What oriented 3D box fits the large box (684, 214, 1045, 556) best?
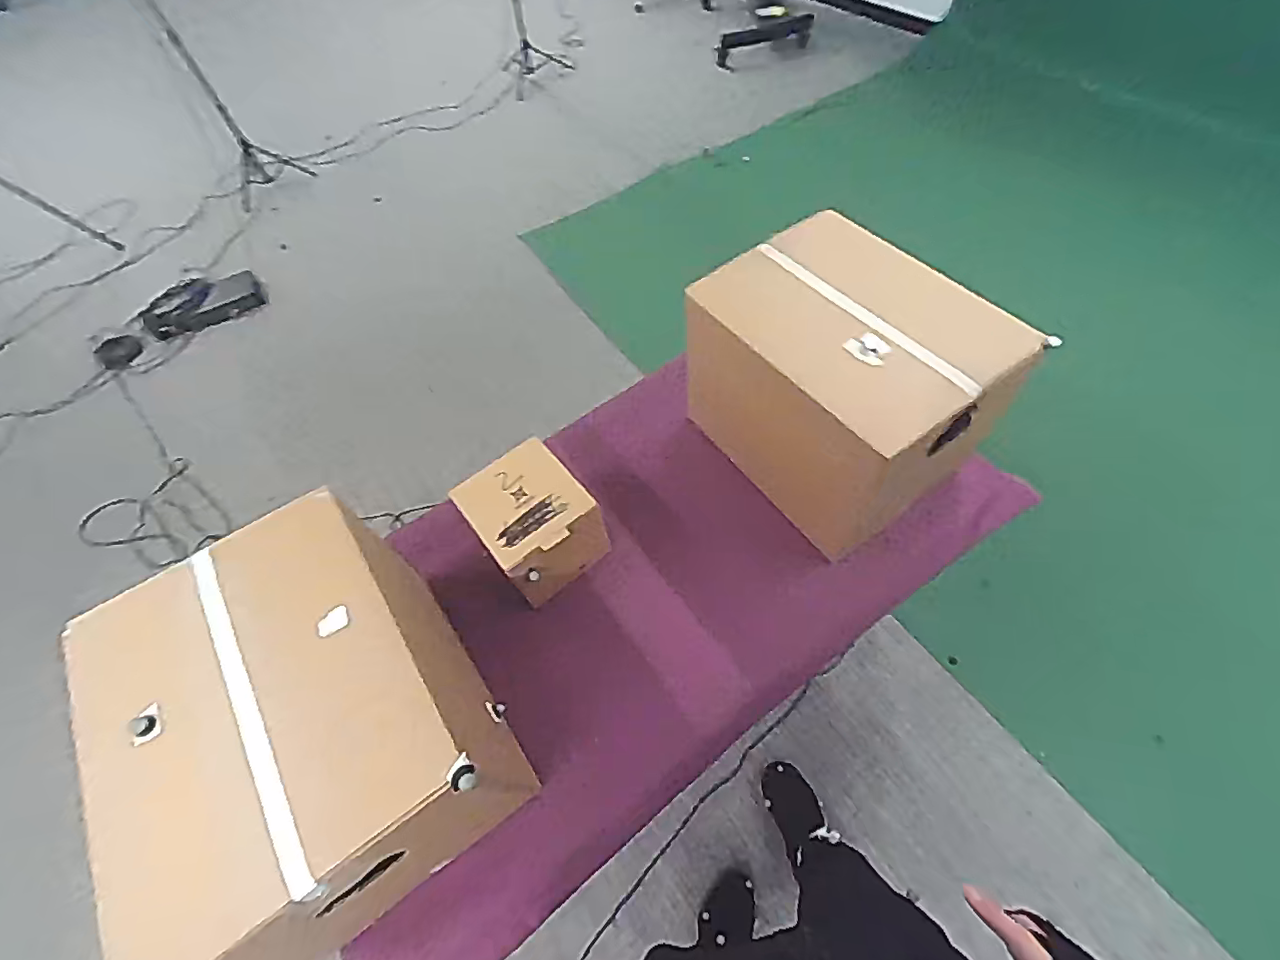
[{"bbox_3d":[0.314,-0.157,0.898,0.320,0.320,0.408,-33,62,-14],"label":"large box"}]
